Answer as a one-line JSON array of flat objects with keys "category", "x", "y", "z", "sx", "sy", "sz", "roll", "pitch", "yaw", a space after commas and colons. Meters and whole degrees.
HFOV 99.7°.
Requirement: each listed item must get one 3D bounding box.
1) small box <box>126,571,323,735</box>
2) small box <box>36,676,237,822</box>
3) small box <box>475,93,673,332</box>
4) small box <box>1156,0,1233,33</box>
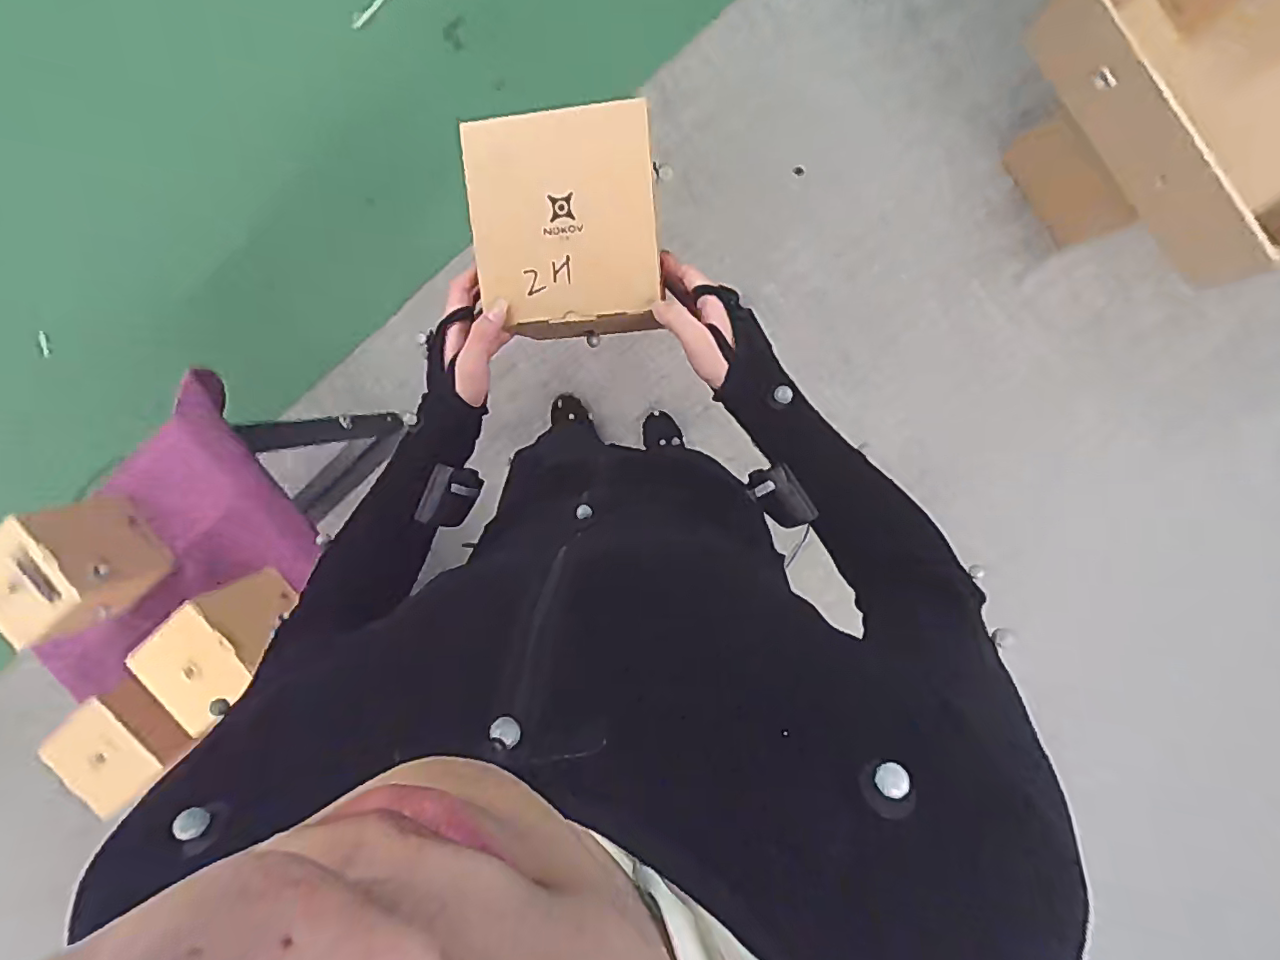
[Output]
[{"category": "small box", "x": -0.700, "y": 0.288, "z": 0.932, "sx": 0.179, "sy": 0.176, "sz": 0.168, "roll": -39, "pitch": 94, "yaw": 10}, {"category": "small box", "x": -0.896, "y": 0.458, "z": 0.981, "sx": 0.179, "sy": 0.176, "sz": 0.168, "roll": -40, "pitch": 94, "yaw": 9}, {"category": "small box", "x": -0.052, "y": -0.251, "z": 0.551, "sx": 0.168, "sy": 0.176, "sz": 0.179, "roll": -2, "pitch": 101, "yaw": 6}, {"category": "small box", "x": 0.987, "y": -0.900, "z": 0.877, "sx": 0.179, "sy": 0.176, "sz": 0.168, "roll": -35, "pitch": 94, "yaw": 10}]
